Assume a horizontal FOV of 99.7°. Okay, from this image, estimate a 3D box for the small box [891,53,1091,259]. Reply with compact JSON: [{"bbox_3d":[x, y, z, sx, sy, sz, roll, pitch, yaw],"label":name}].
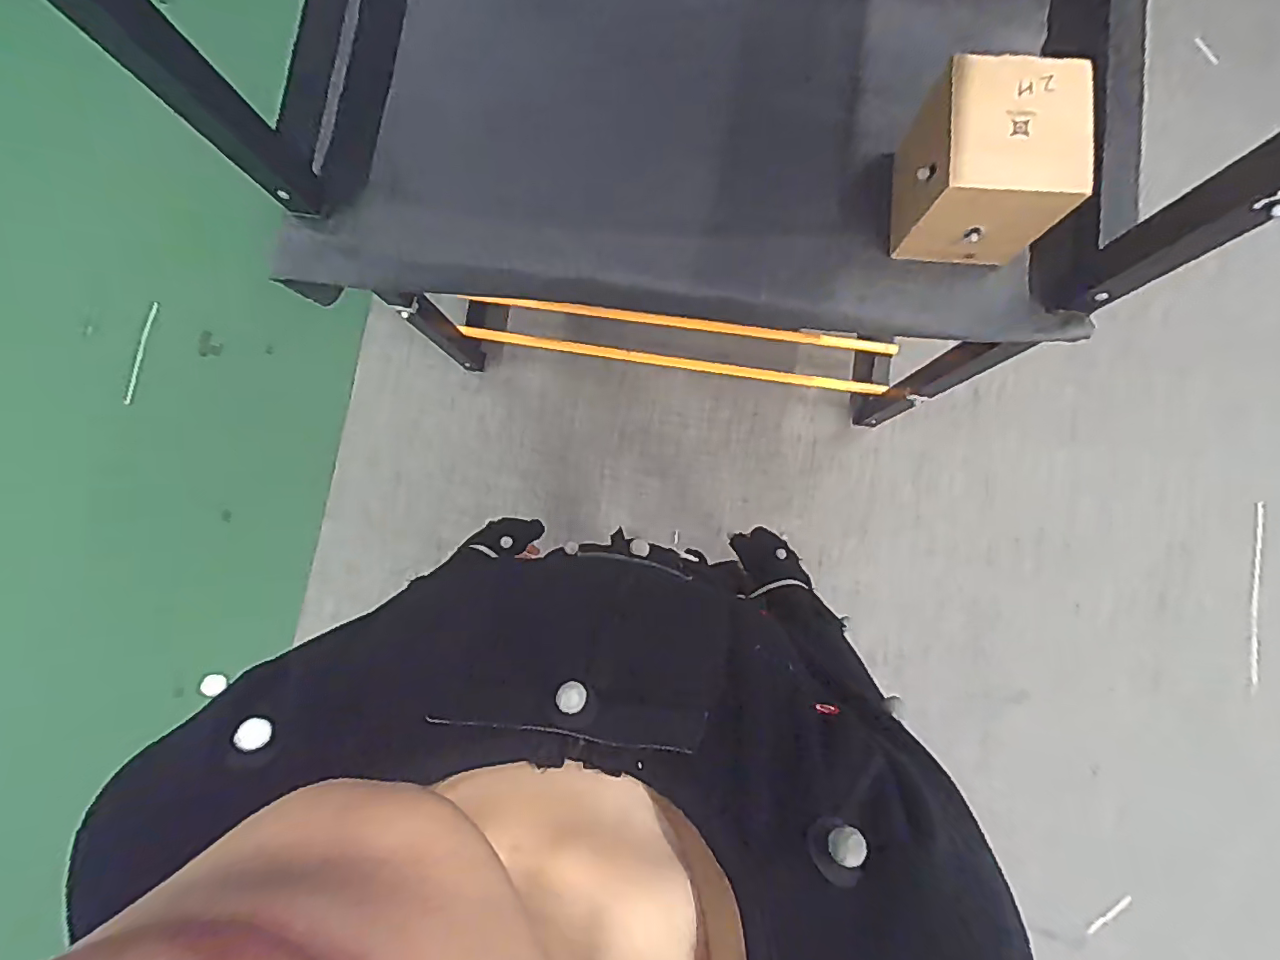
[{"bbox_3d":[0.453,-0.418,0.723,0.168,0.176,0.179,4,84,2],"label":"small box"}]
